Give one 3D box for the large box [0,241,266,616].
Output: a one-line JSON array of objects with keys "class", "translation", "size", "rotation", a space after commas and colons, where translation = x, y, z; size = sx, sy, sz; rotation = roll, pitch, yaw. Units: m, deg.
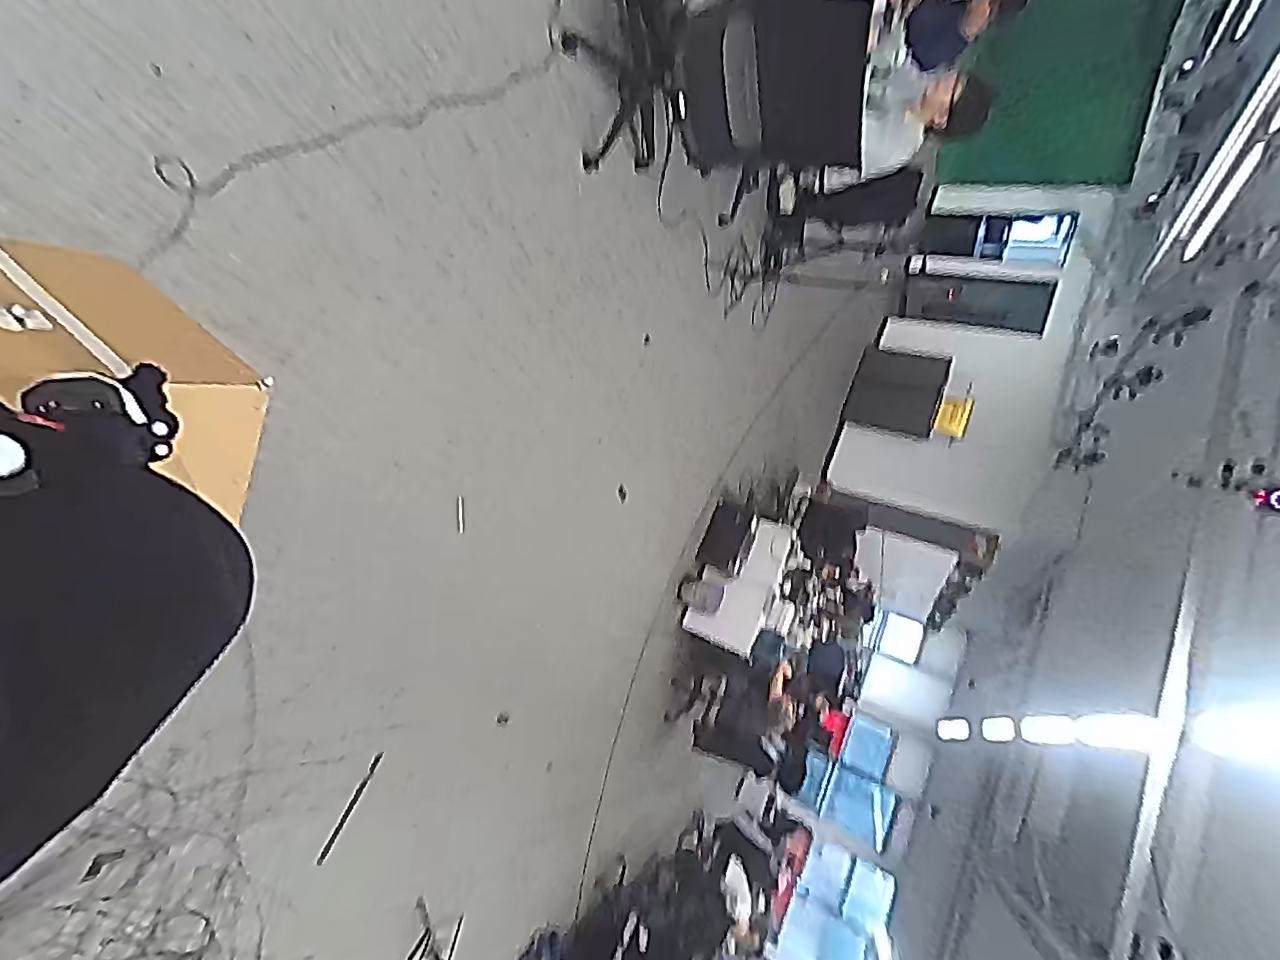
[{"class": "large box", "translation": [-0.800, -0.088, 0.710], "size": [0.320, 0.408, 0.320], "rotation": [-62, 164, 22]}]
